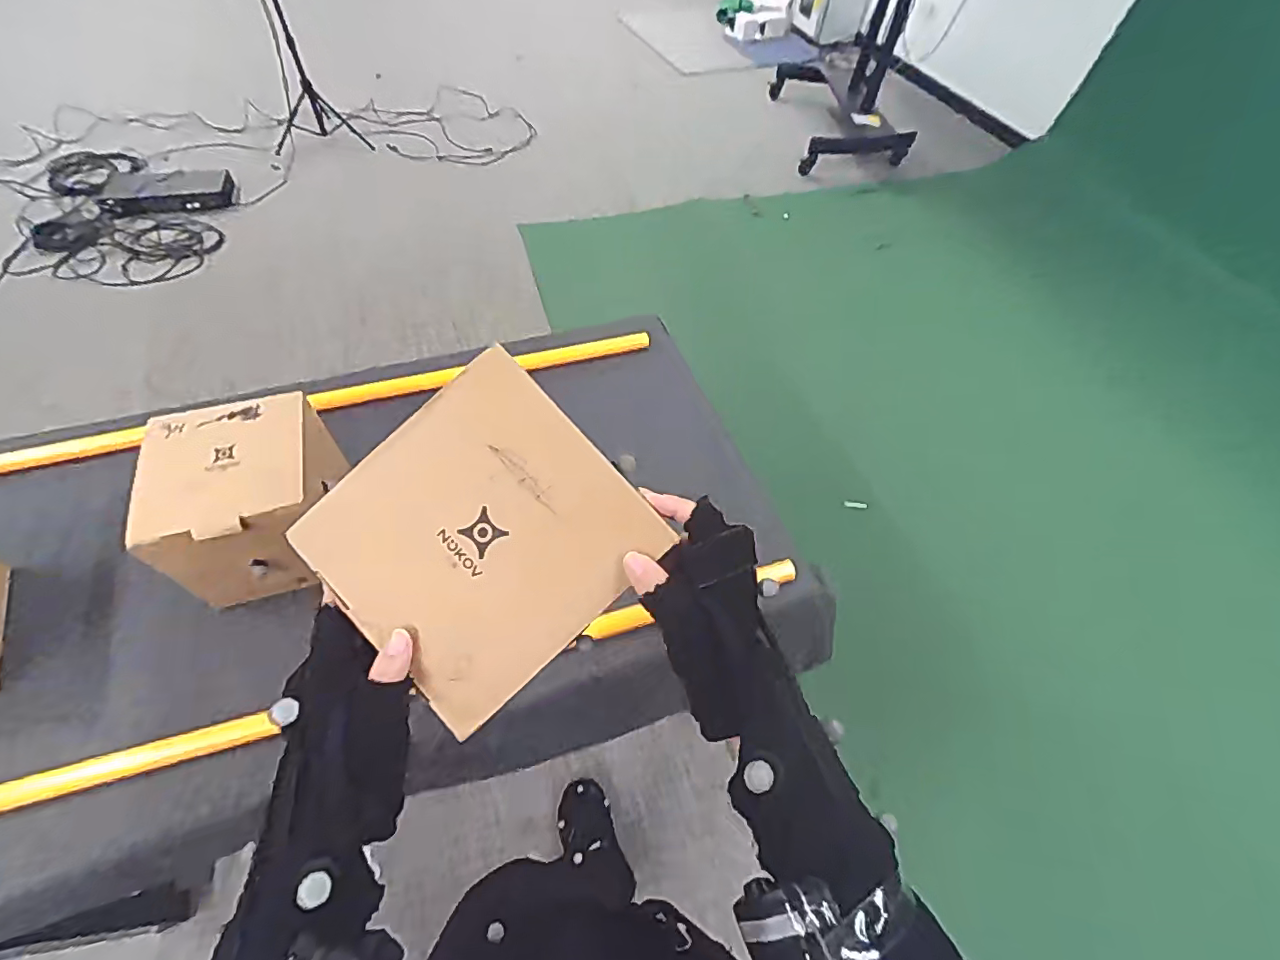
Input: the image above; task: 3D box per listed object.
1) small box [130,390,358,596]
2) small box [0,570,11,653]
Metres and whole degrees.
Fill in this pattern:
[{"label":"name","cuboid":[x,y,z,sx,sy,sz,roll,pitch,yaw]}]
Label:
[{"label":"small box","cuboid":[-0.467,0.025,0.665,0.168,0.176,0.179,-17,58,-15]},{"label":"small box","cuboid":[-0.807,0.150,0.542,0.168,0.176,0.179,-20,60,-18]}]
